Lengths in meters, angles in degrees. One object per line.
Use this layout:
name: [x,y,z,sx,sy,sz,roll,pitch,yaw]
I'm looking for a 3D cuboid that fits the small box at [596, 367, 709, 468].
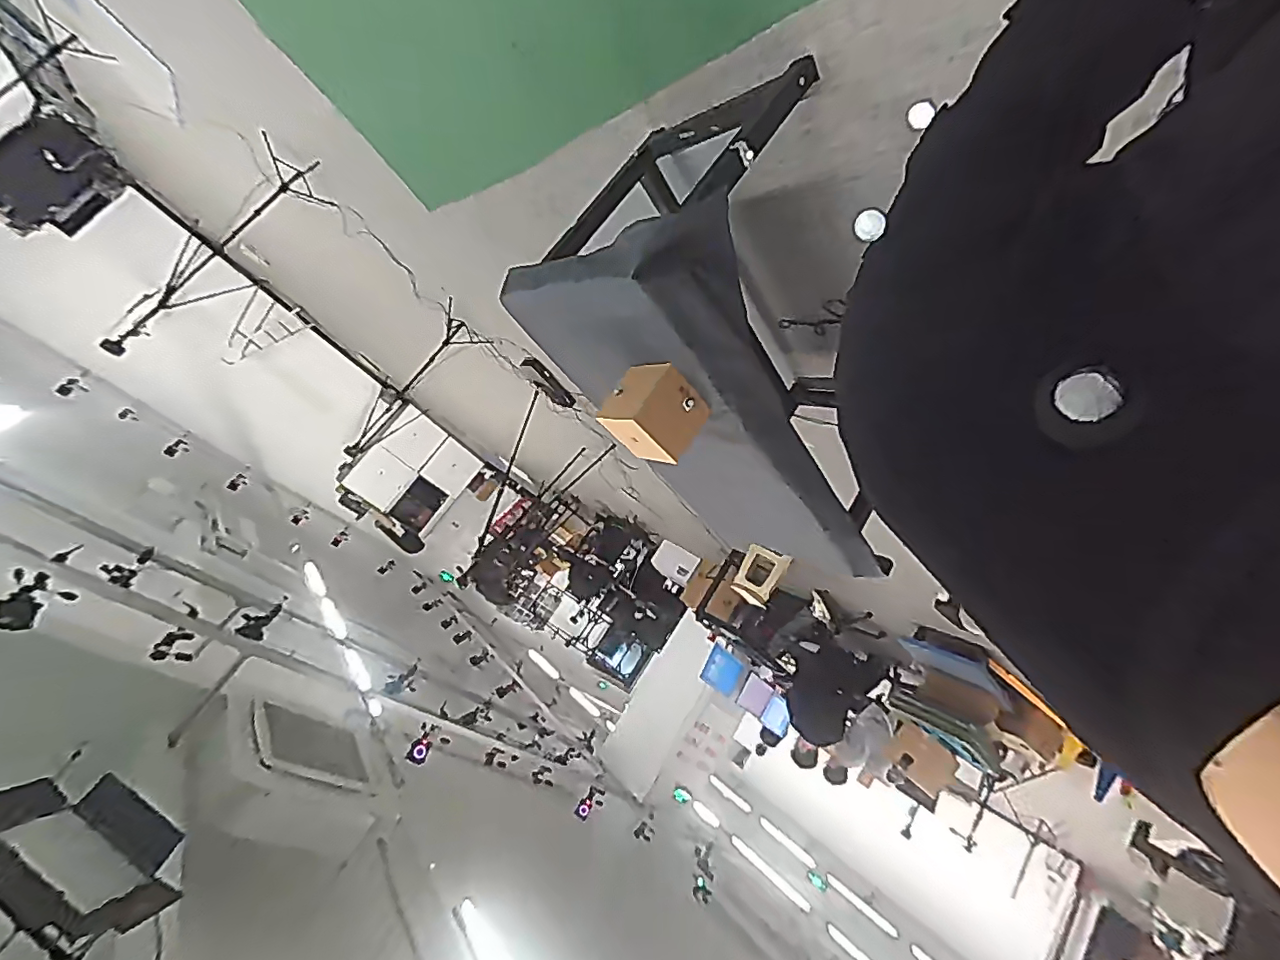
small box: [0.032,-0.151,1.292,0.168,0.176,0.179,42,163,-30]
